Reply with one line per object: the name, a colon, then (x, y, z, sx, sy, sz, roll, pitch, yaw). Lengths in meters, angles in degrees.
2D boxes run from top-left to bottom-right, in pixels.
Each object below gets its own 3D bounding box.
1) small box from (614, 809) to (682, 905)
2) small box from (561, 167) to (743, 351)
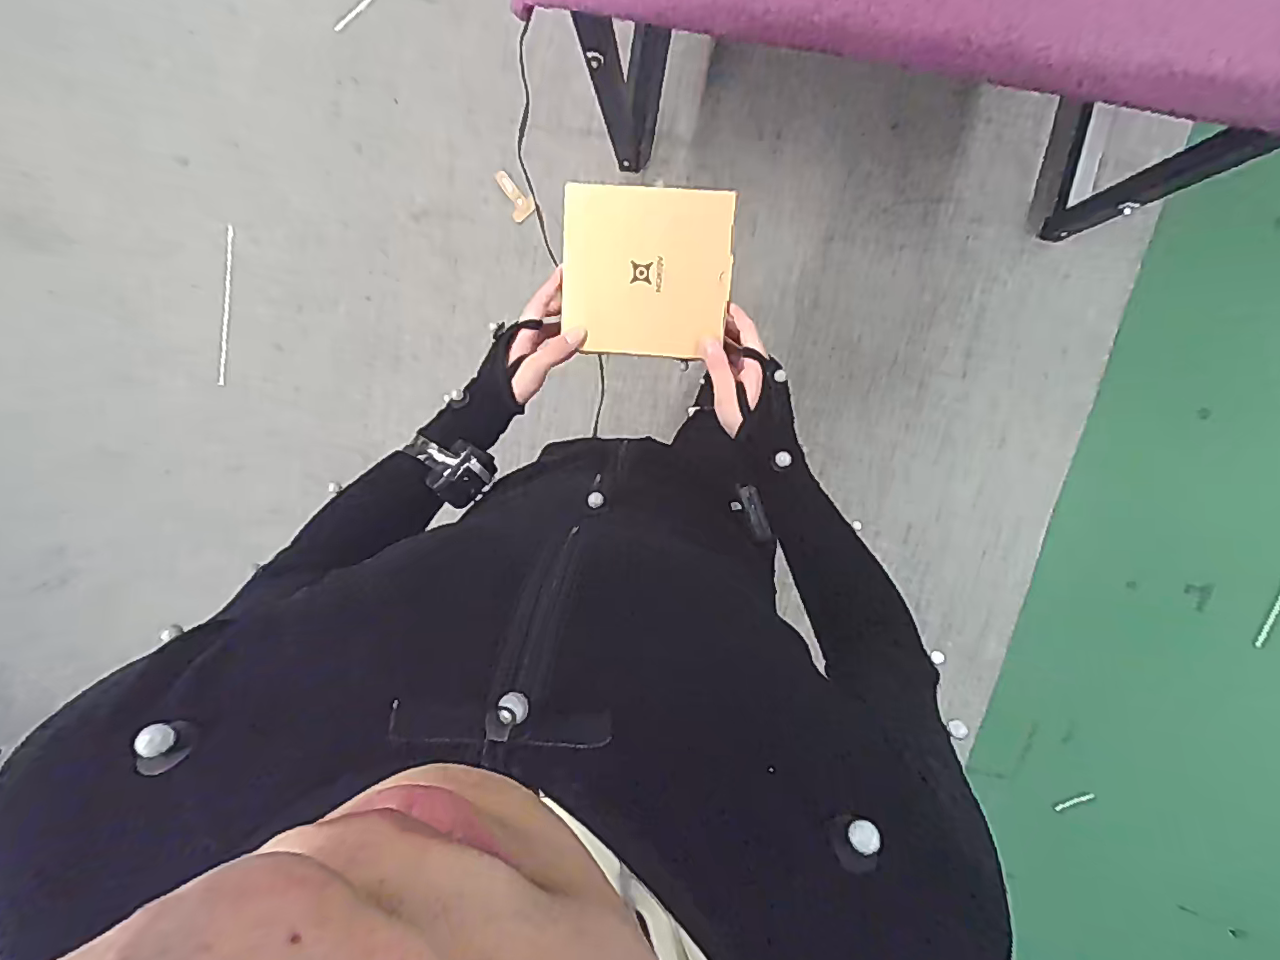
small box: (0.029, 1.187, 1.717, 0.179, 0.176, 0.168, 13, 101, 3)
small box: (0.013, -0.239, 0.624, 0.179, 0.176, 0.168, 4, 103, 1)
